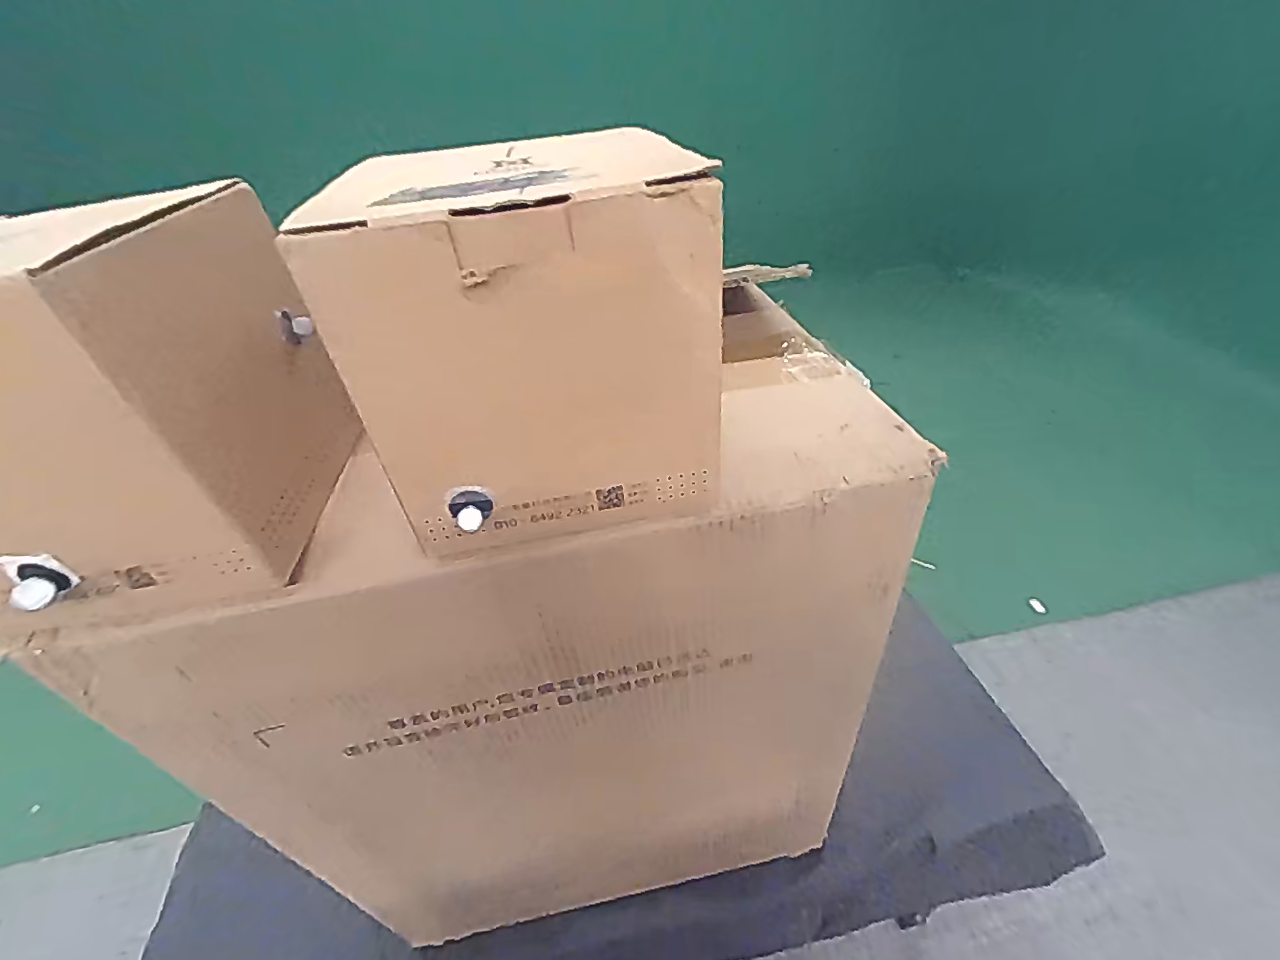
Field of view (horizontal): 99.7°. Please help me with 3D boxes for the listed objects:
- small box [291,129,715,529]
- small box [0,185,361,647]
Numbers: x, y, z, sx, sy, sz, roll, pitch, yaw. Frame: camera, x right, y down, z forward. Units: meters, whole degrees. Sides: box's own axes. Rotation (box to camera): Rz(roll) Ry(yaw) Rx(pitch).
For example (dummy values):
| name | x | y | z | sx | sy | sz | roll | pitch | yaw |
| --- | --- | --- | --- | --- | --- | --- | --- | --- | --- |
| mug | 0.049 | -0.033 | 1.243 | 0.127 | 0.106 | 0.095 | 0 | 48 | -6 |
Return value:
| name | x | y | z | sx | sy | sz | roll | pitch | yaw |
| --- | --- | --- | --- | --- | --- | --- | --- | --- | --- |
| small box | -0.056 | -0.088 | 0.316 | 0.168 | 0.176 | 0.179 | -11 | 38 | -6 |
| small box | -0.282 | -0.041 | 0.297 | 0.168 | 0.176 | 0.179 | -13 | 40 | -3 |
